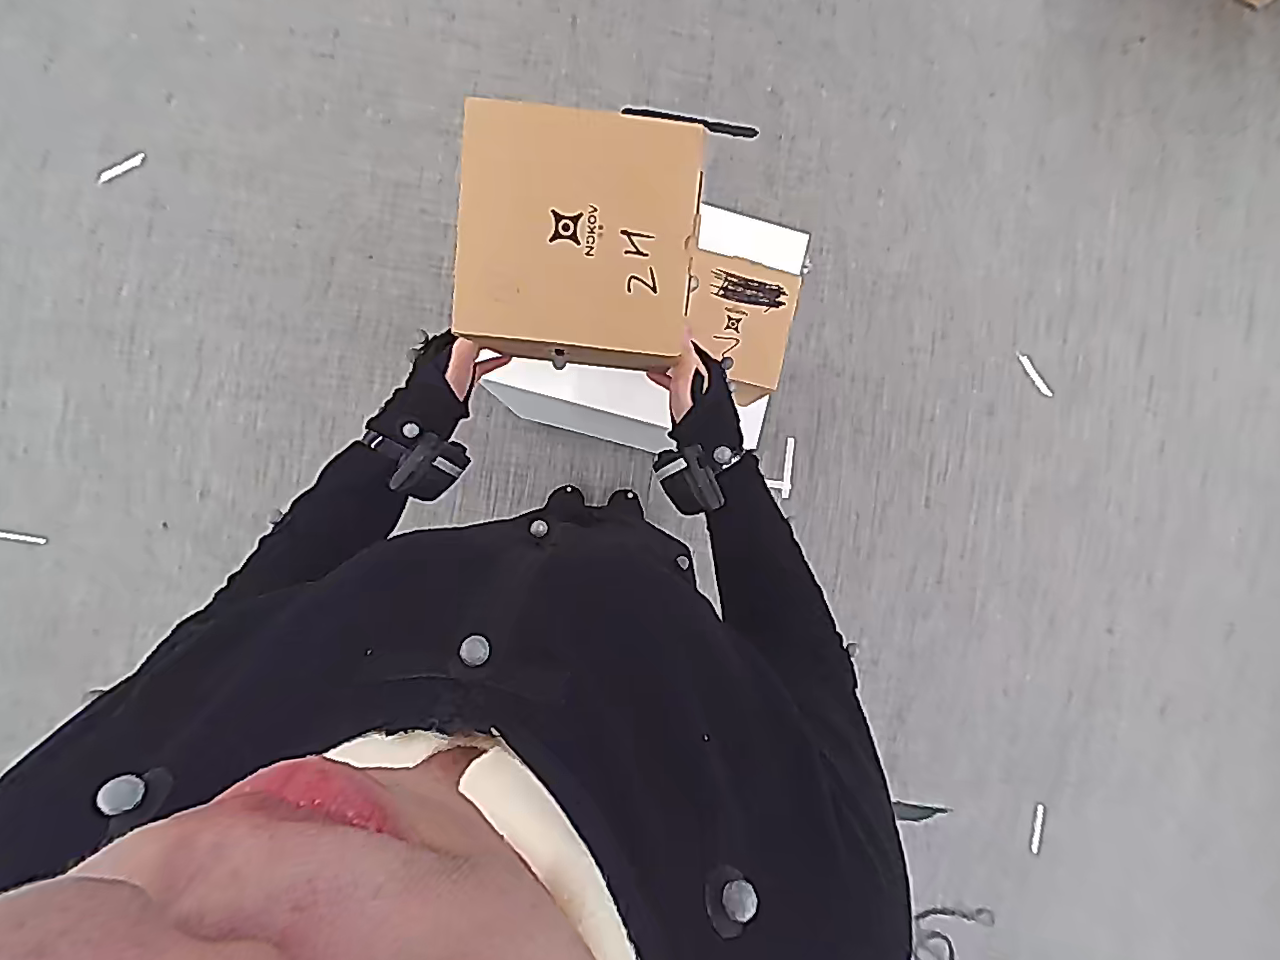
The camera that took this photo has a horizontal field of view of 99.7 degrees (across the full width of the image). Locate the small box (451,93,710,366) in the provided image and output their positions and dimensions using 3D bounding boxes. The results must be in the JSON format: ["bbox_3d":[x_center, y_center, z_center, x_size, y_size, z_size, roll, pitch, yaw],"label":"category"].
[{"bbox_3d":[-0.046,-0.195,0.472,0.179,0.176,0.168,6,98,-2],"label":"small box"}]
